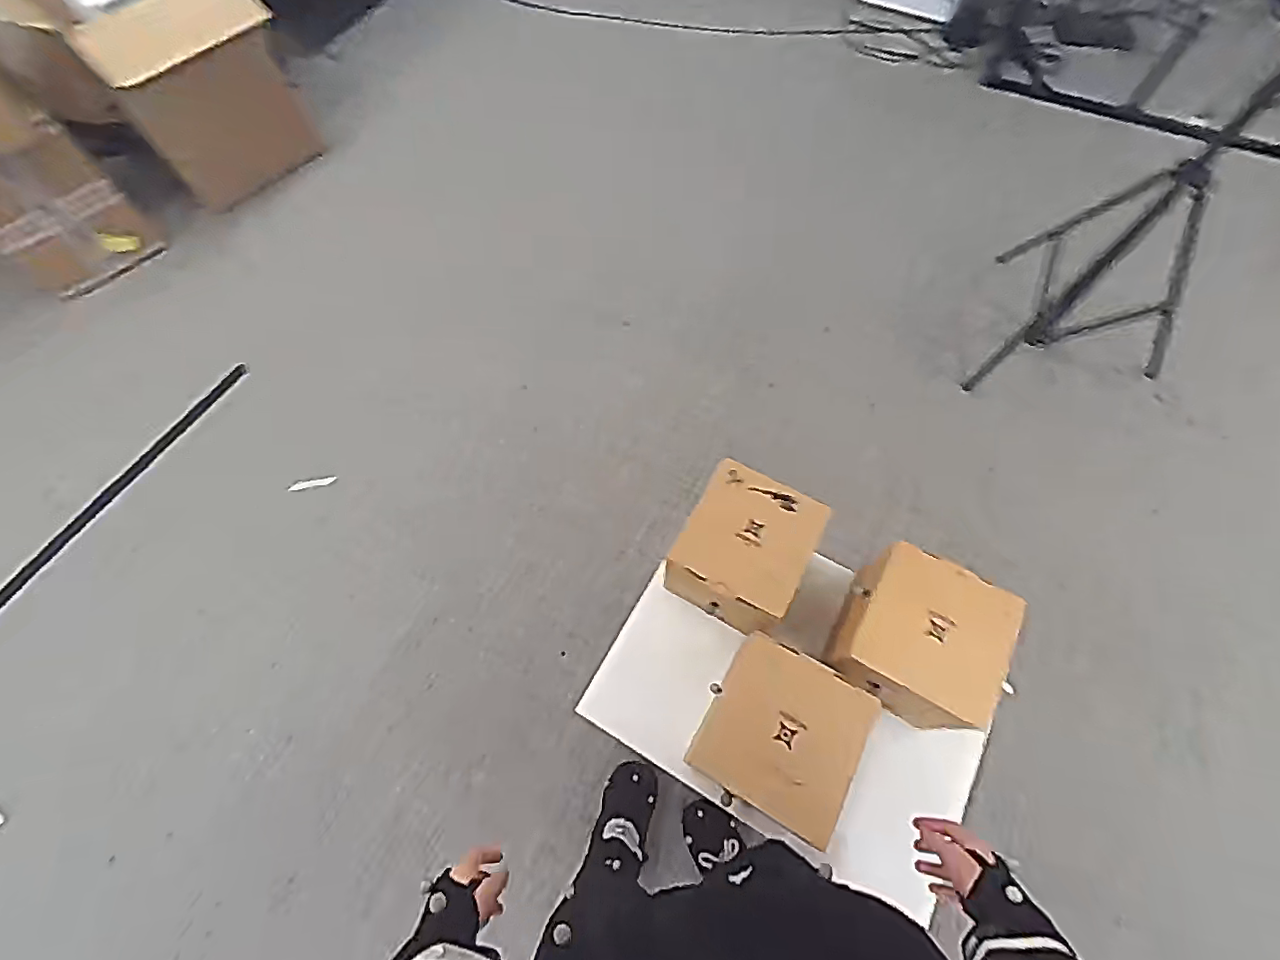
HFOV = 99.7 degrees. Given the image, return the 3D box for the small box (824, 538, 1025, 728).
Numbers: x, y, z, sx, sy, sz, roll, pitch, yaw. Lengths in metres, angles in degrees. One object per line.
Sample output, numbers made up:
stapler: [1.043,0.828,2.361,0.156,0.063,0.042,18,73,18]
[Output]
small box: [0.369,0.214,0.734,0.168,0.176,0.179,28,69,15]

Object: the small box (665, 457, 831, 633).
small box: [0.151,0.103,0.794,0.168,0.176,0.179,29,70,14]
